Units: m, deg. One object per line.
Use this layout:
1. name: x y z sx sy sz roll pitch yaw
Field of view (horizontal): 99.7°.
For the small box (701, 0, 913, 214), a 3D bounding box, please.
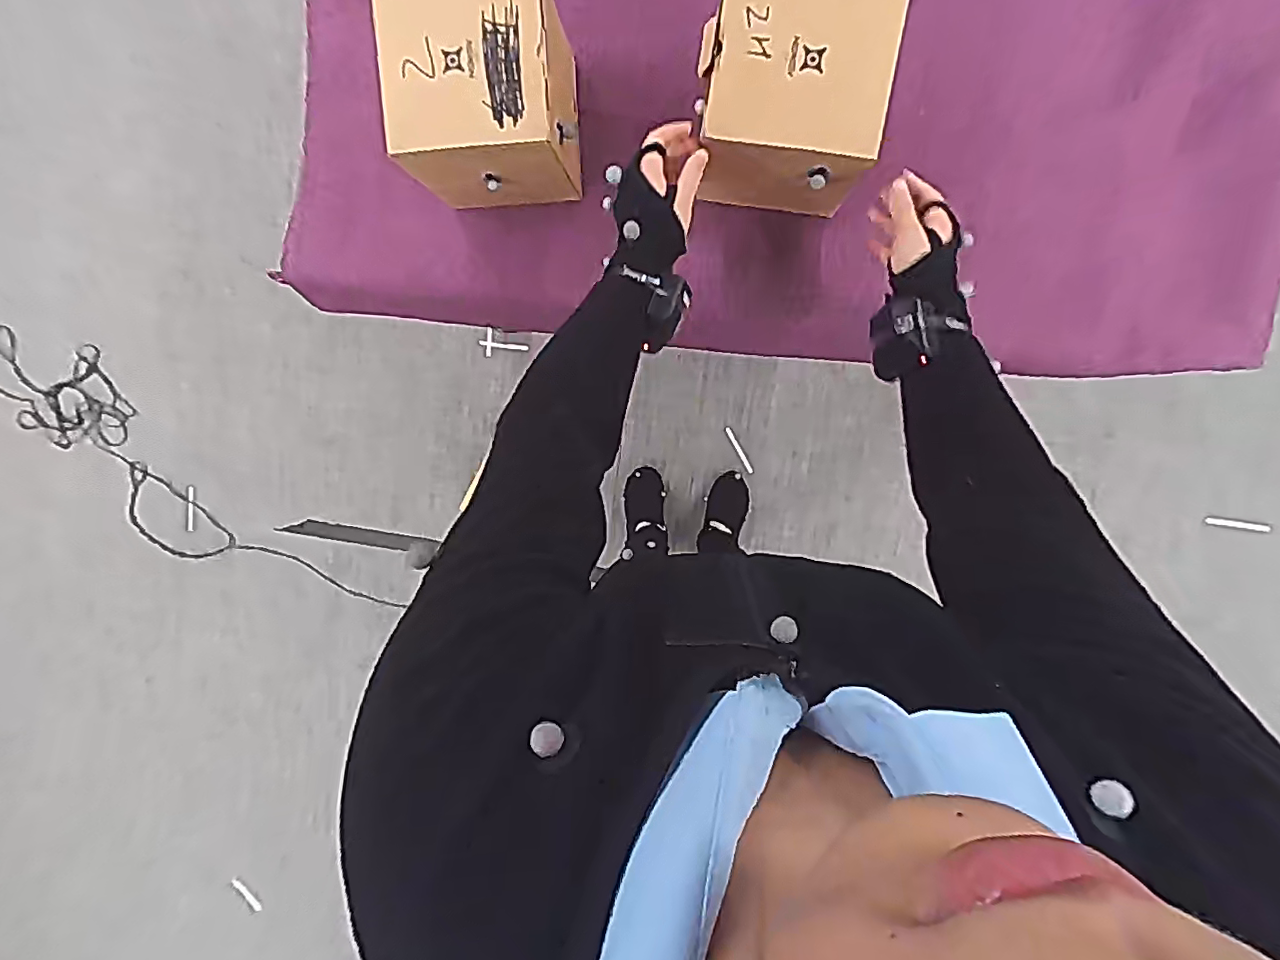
1. small box: 0.167 -0.413 0.598 0.179 0.176 0.168 9 98 4
